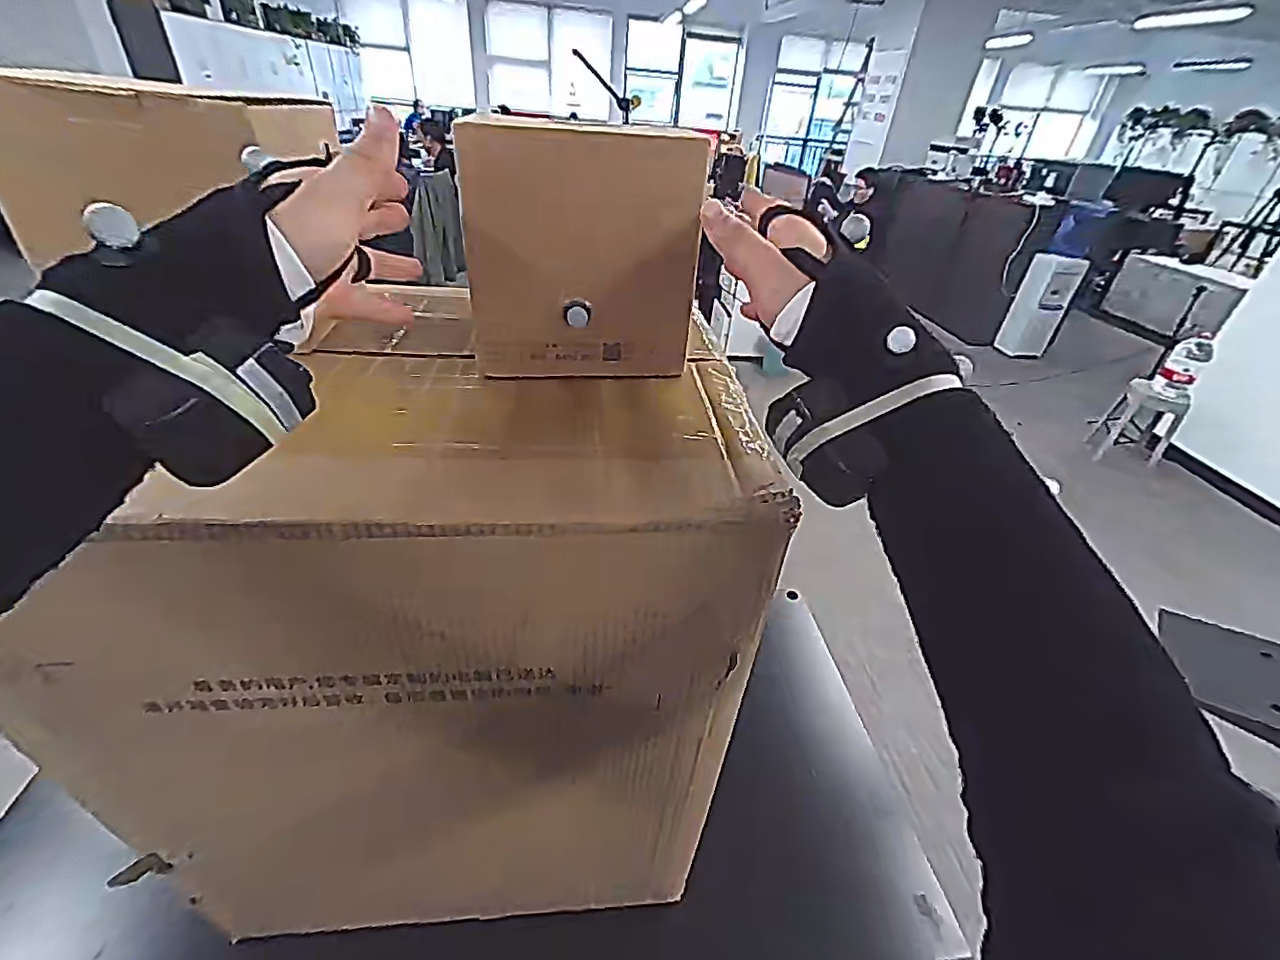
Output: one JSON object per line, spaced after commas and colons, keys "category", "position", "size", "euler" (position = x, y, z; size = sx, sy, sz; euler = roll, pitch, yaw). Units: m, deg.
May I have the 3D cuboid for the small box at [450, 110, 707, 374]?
{"category": "small box", "position": [-0.053, -0.199, 0.453], "size": [0.168, 0.176, 0.179], "euler": [-3, 34, -9]}

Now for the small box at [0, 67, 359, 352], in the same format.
{"category": "small box", "position": [-0.347, -0.216, 0.440], "size": [0.168, 0.176, 0.179], "euler": [-1, 34, -10]}
